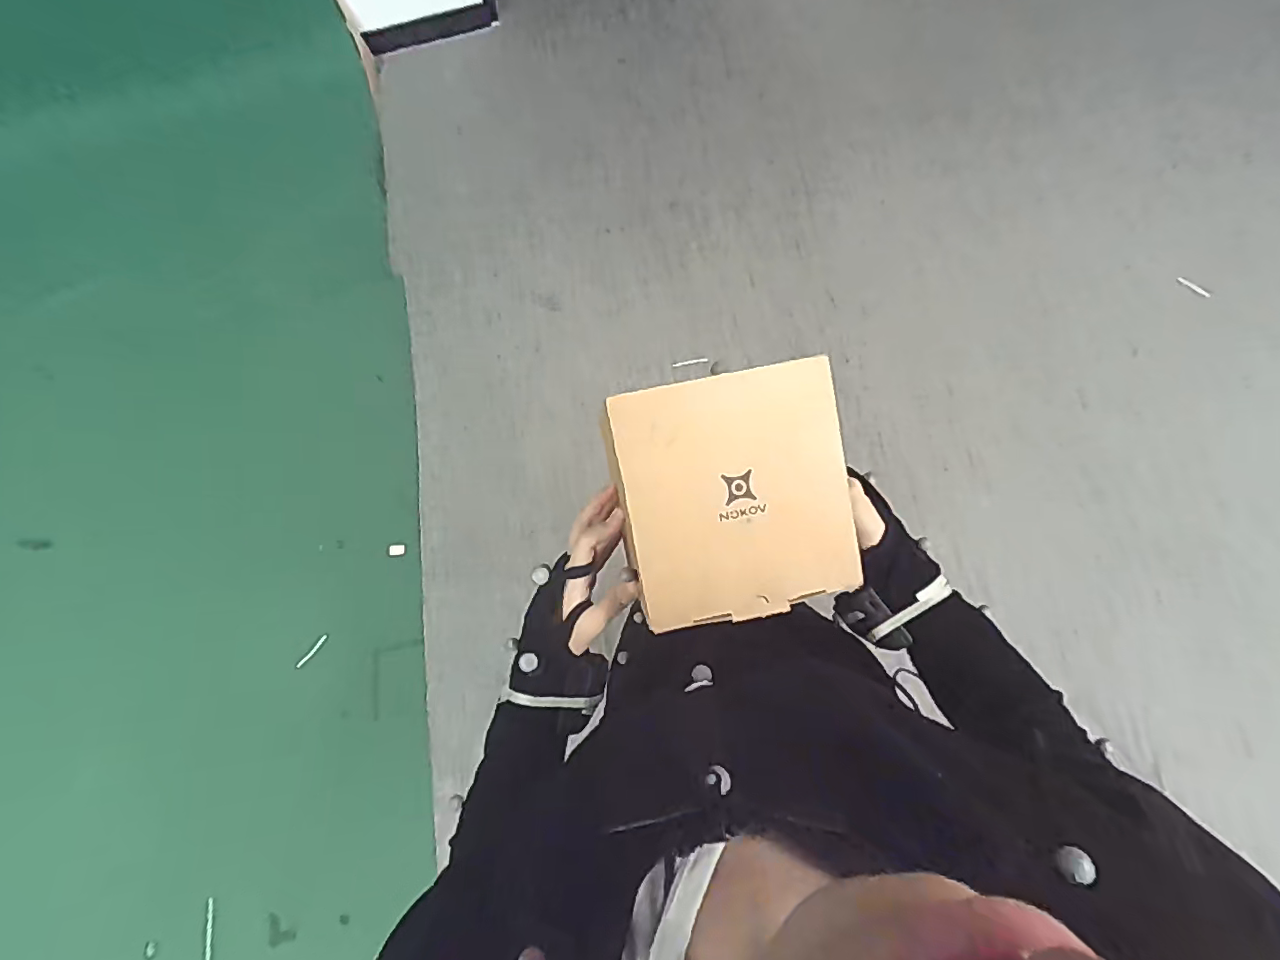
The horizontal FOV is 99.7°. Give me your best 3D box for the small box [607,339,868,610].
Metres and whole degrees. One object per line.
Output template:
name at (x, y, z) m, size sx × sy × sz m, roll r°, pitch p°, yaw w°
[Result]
small box at (0.069, -0.010, 0.475) m, size 0.168 × 0.176 × 0.179 m, roll -12°, pitch 96°, yaw -6°
